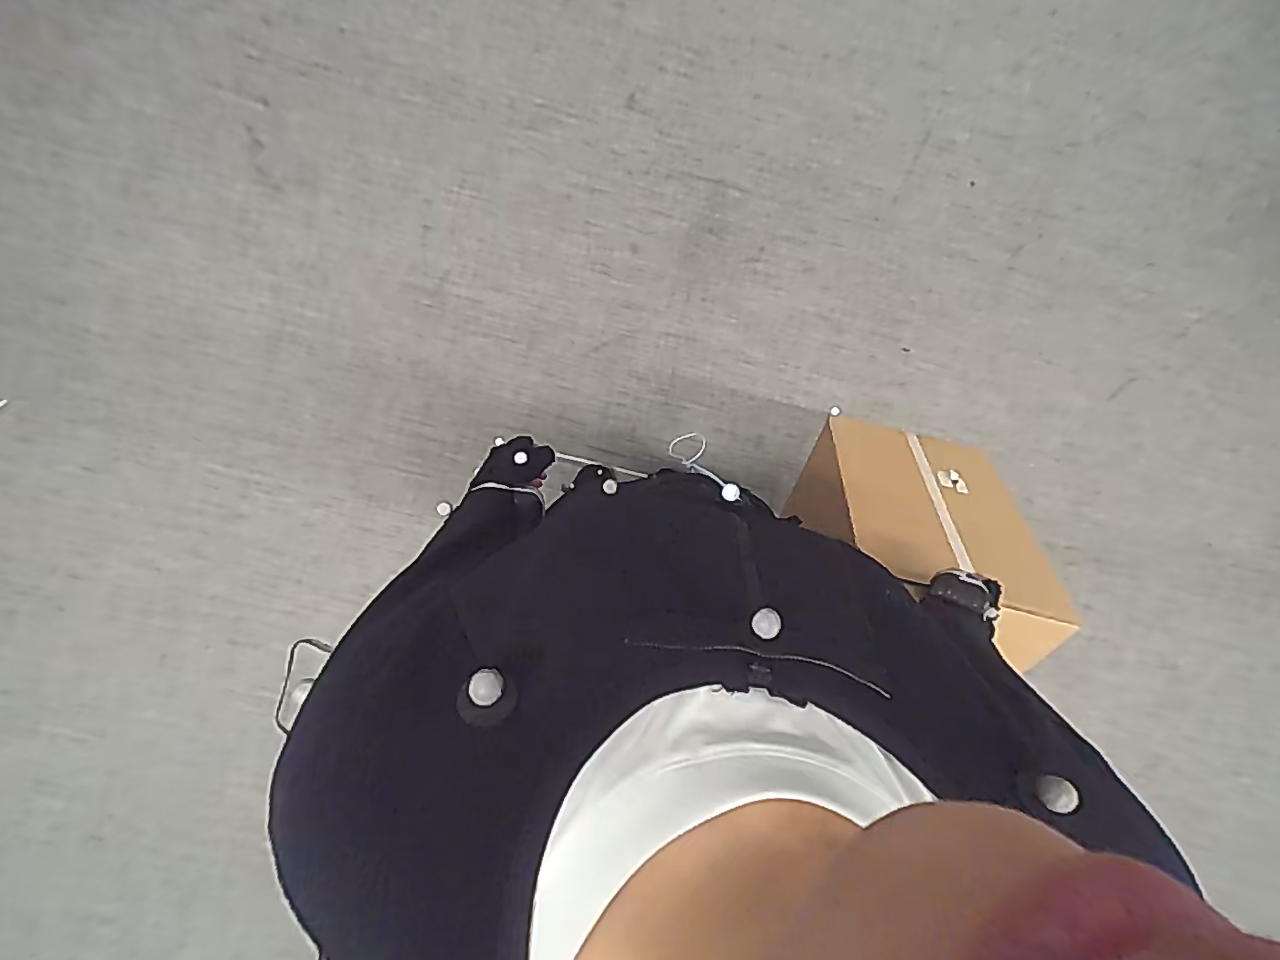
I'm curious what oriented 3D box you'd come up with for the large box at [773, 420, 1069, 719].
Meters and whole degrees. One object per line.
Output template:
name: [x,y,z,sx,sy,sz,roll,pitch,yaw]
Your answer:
large box: [0.449,0.153,0.991,0.320,0.408,0.320,15,130,-1]
